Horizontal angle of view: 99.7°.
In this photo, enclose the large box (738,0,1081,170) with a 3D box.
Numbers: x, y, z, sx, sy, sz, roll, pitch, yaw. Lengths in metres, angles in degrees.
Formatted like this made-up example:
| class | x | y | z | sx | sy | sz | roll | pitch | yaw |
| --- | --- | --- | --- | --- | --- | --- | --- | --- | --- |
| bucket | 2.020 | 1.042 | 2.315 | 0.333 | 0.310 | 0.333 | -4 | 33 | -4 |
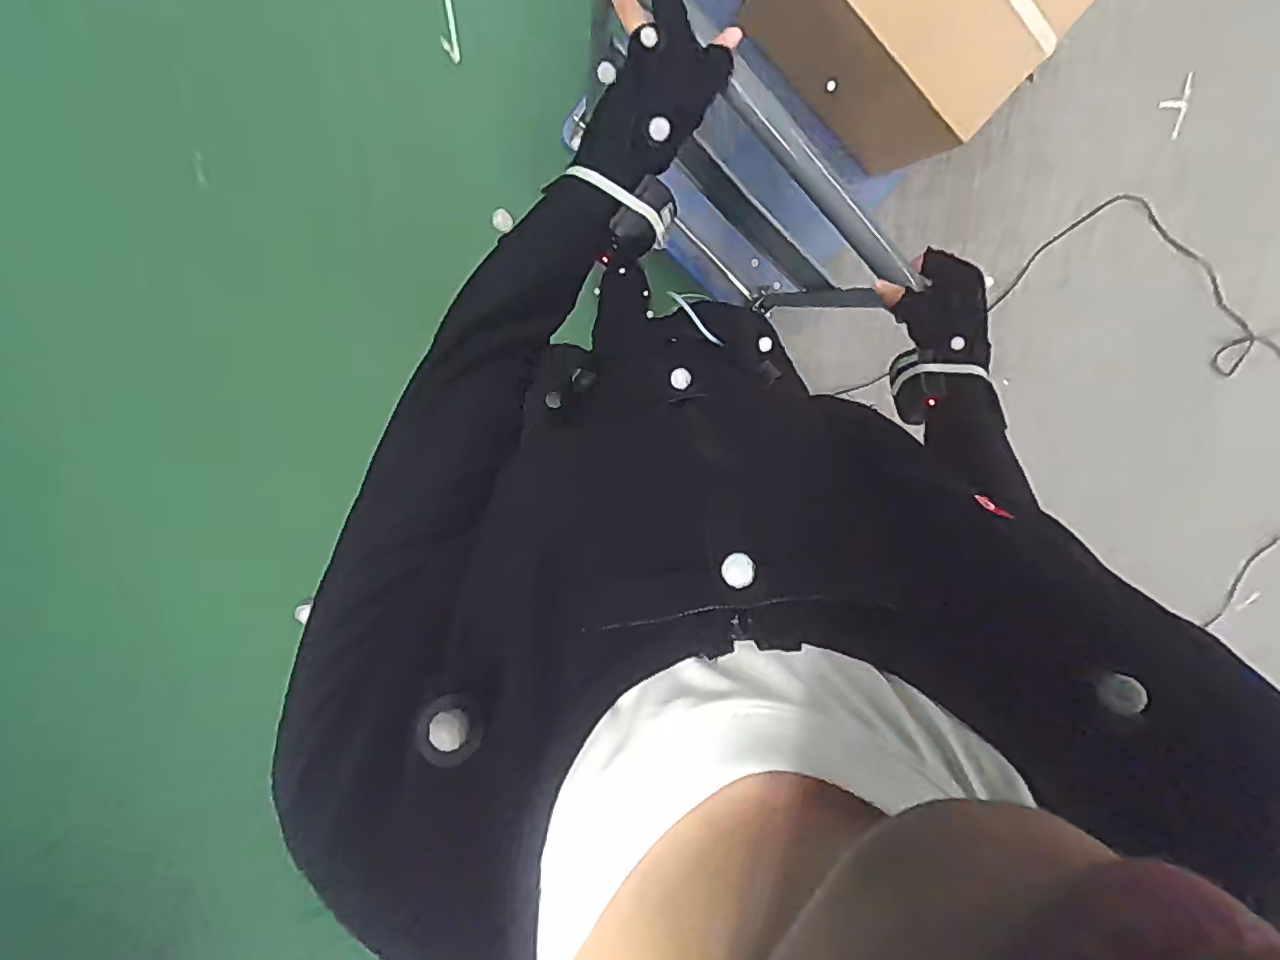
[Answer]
| class | x | y | z | sx | sy | sz | roll | pitch | yaw |
| --- | --- | --- | --- | --- | --- | --- | --- | --- | --- |
| large box | 0.433 | -0.804 | 0.888 | 0.408 | 0.320 | 0.320 | 38 | 104 | -14 |
